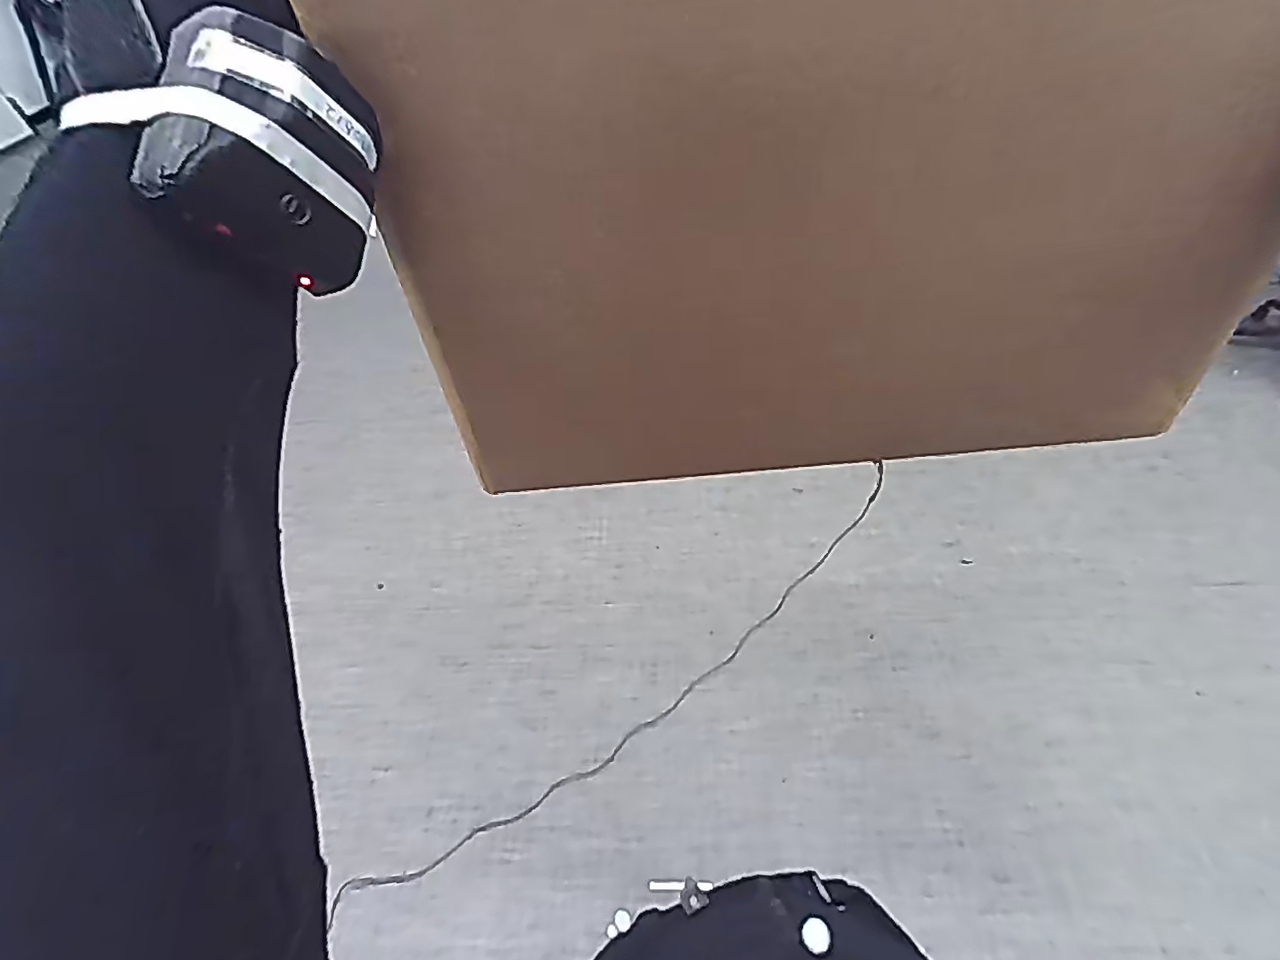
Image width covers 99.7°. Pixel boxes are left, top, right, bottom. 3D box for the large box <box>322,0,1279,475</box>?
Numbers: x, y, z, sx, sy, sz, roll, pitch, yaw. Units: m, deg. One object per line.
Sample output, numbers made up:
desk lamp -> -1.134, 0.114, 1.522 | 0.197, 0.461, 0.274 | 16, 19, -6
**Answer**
large box -> 0.082, -0.227, 0.343 | 0.408, 0.320, 0.320 | -5, 41, 2
